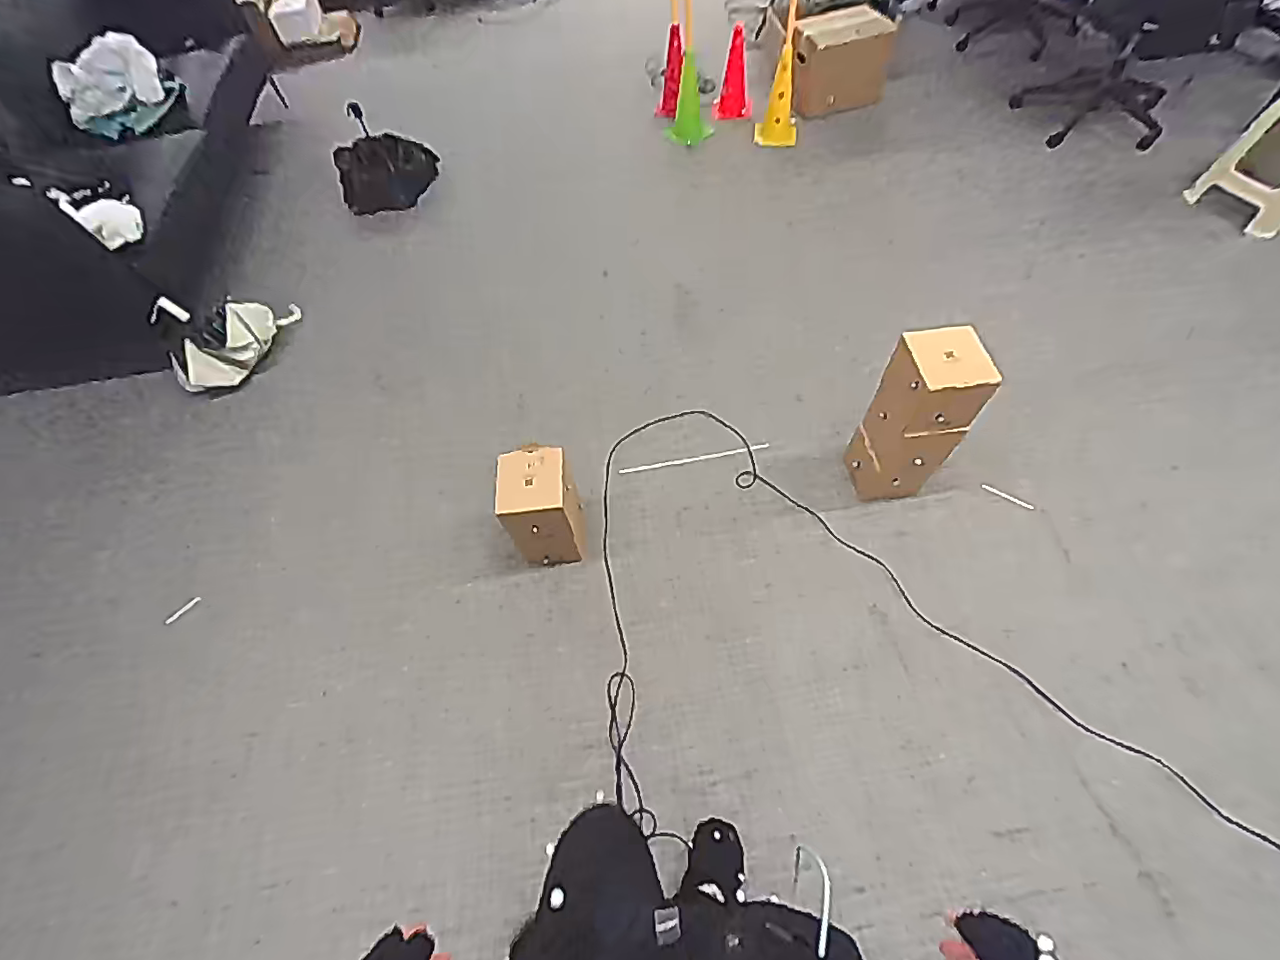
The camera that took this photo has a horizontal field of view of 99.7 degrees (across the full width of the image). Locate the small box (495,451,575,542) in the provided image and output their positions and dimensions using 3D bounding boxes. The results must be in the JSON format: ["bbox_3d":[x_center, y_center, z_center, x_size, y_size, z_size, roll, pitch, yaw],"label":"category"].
[{"bbox_3d":[-0.264,0.049,1.394,0.168,0.176,0.179,-6,58,1],"label":"small box"}]

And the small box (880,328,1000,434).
[{"bbox_3d":[0.699,-0.232,1.288,0.168,0.176,0.179,-7,59,0],"label":"small box"}]

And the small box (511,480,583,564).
[{"bbox_3d":[-0.255,0.121,1.523,0.168,0.176,0.179,-5,59,2],"label":"small box"}]

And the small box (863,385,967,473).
[{"bbox_3d":[0.711,-0.141,1.422,0.168,0.176,0.179,-7,59,0],"label":"small box"}]

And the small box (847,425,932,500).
[{"bbox_3d":[0.714,-0.055,1.563,0.179,0.176,0.168,-8,59,0],"label":"small box"}]
